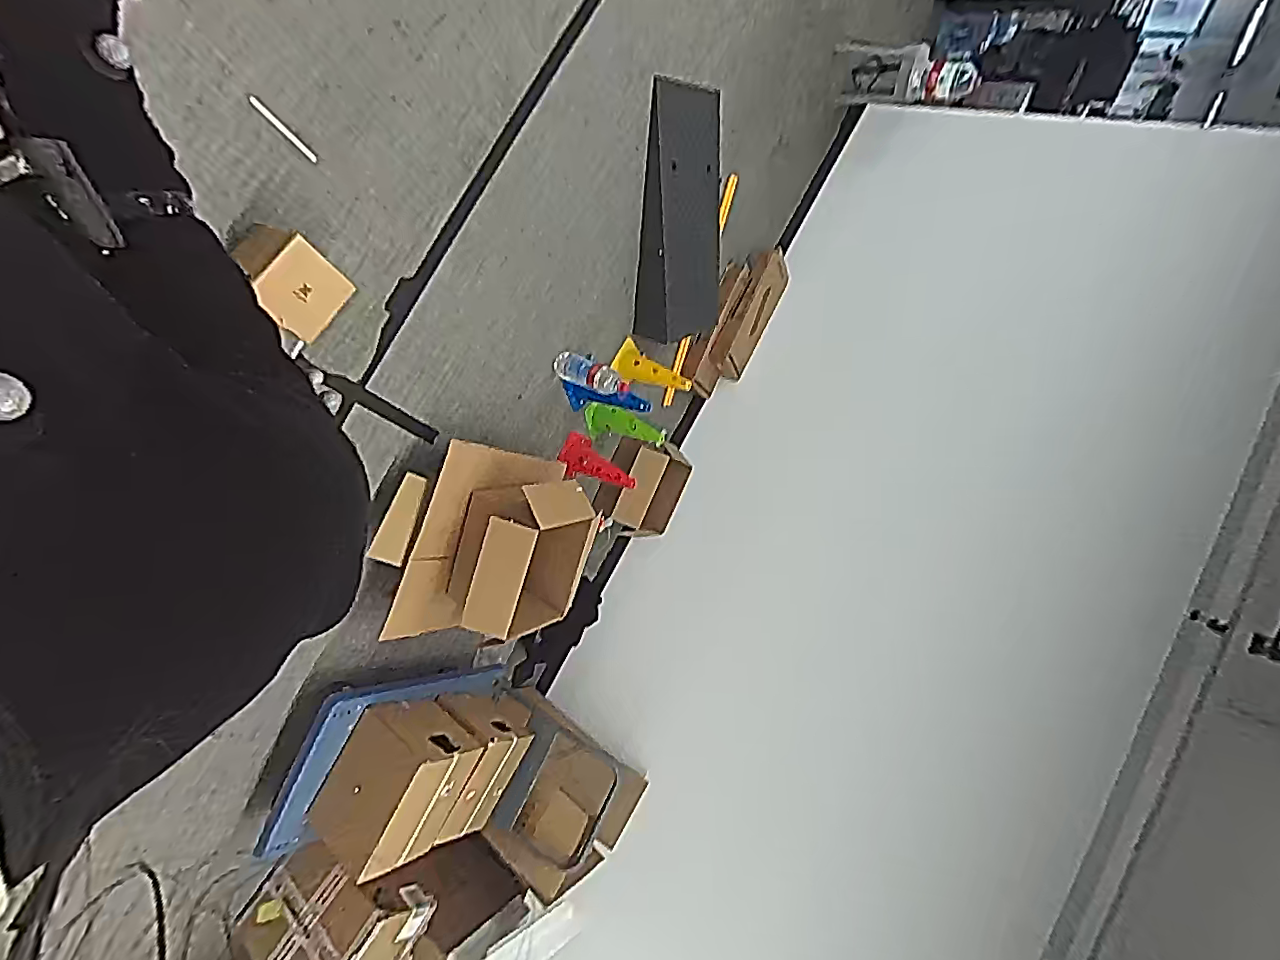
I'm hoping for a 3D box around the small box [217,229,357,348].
[{"bbox_3d":[-0.795,-0.434,1.218,0.179,0.176,0.168,-58,152,-11],"label":"small box"}]
